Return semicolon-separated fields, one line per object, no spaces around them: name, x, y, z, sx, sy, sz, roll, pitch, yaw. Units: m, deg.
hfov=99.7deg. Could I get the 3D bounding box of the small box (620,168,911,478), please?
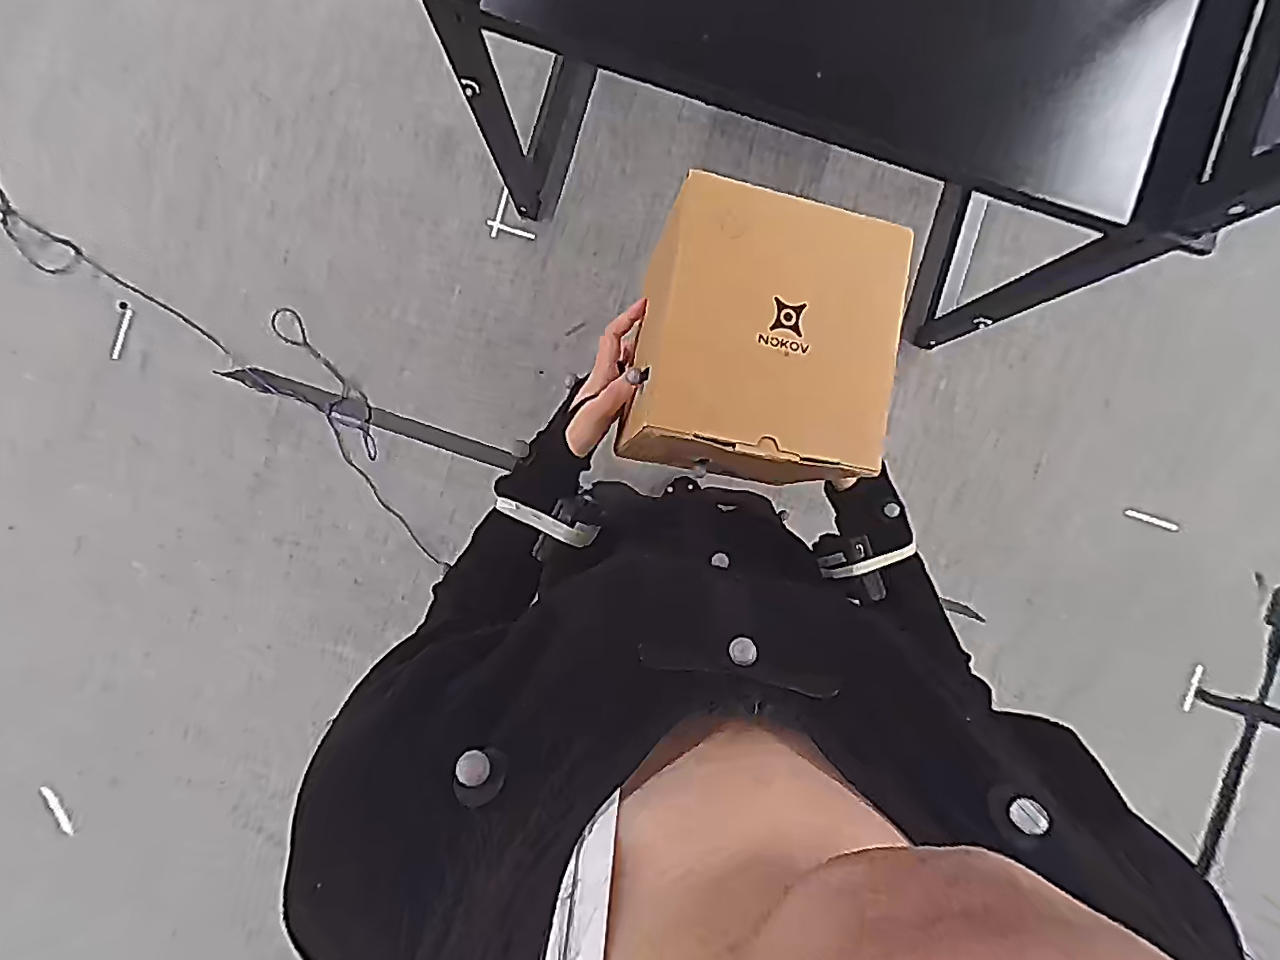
small box;0.083;-0.101;0.435;0.168;0.176;0.179;10;87;-9
